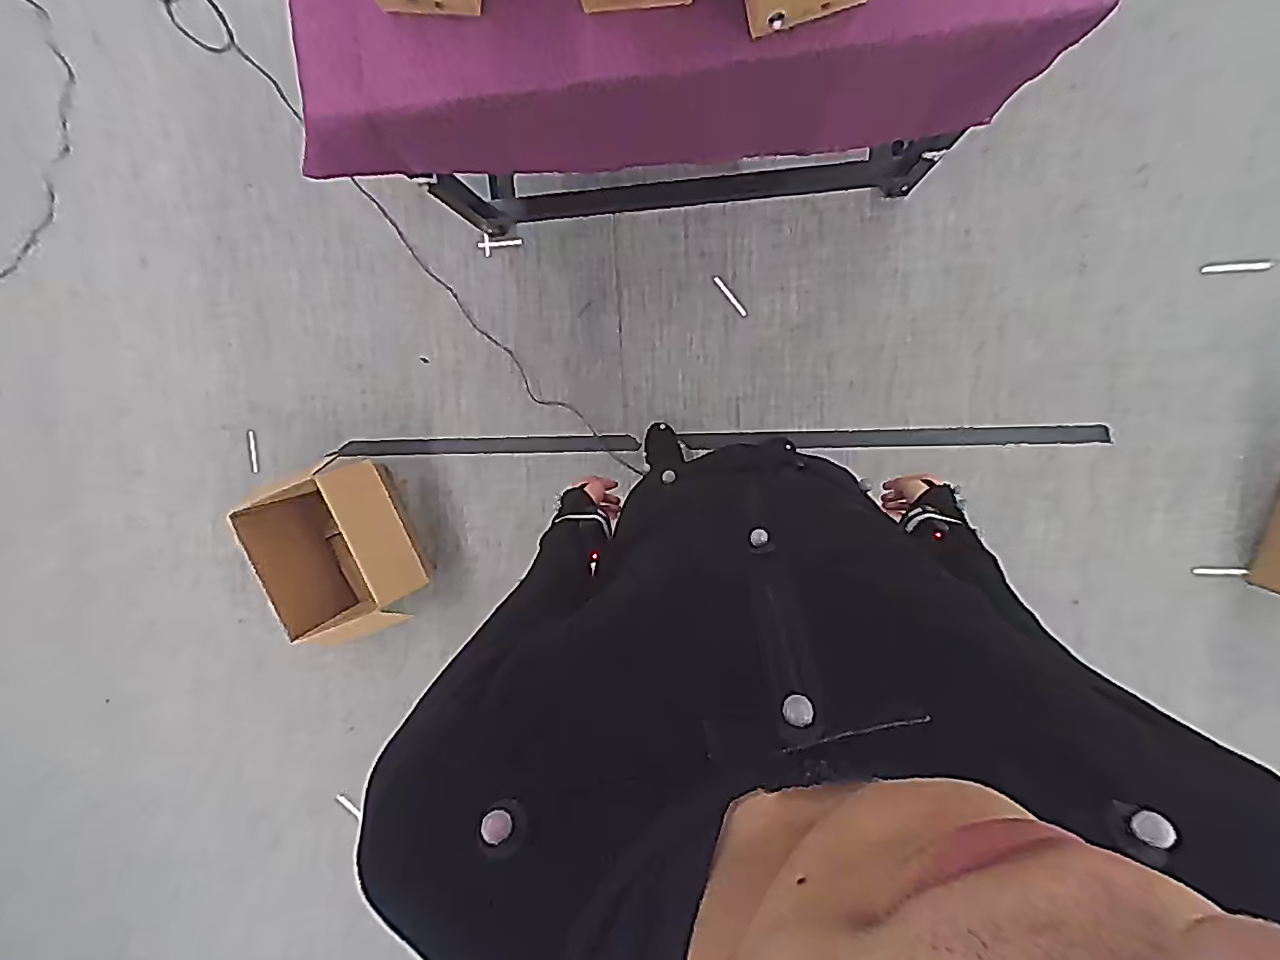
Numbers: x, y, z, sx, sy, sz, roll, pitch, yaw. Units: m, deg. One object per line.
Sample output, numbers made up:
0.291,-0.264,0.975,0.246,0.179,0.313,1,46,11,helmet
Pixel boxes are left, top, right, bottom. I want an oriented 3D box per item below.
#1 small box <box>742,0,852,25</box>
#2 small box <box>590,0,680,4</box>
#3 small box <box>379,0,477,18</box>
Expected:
0.208,-0.736,0.691,0.168,0.176,0.179,-12,95,9,small box
-0.017,-0.778,0.717,0.168,0.176,0.179,2,98,7,small box
-0.331,-0.802,0.752,0.168,0.176,0.179,8,99,7,small box
